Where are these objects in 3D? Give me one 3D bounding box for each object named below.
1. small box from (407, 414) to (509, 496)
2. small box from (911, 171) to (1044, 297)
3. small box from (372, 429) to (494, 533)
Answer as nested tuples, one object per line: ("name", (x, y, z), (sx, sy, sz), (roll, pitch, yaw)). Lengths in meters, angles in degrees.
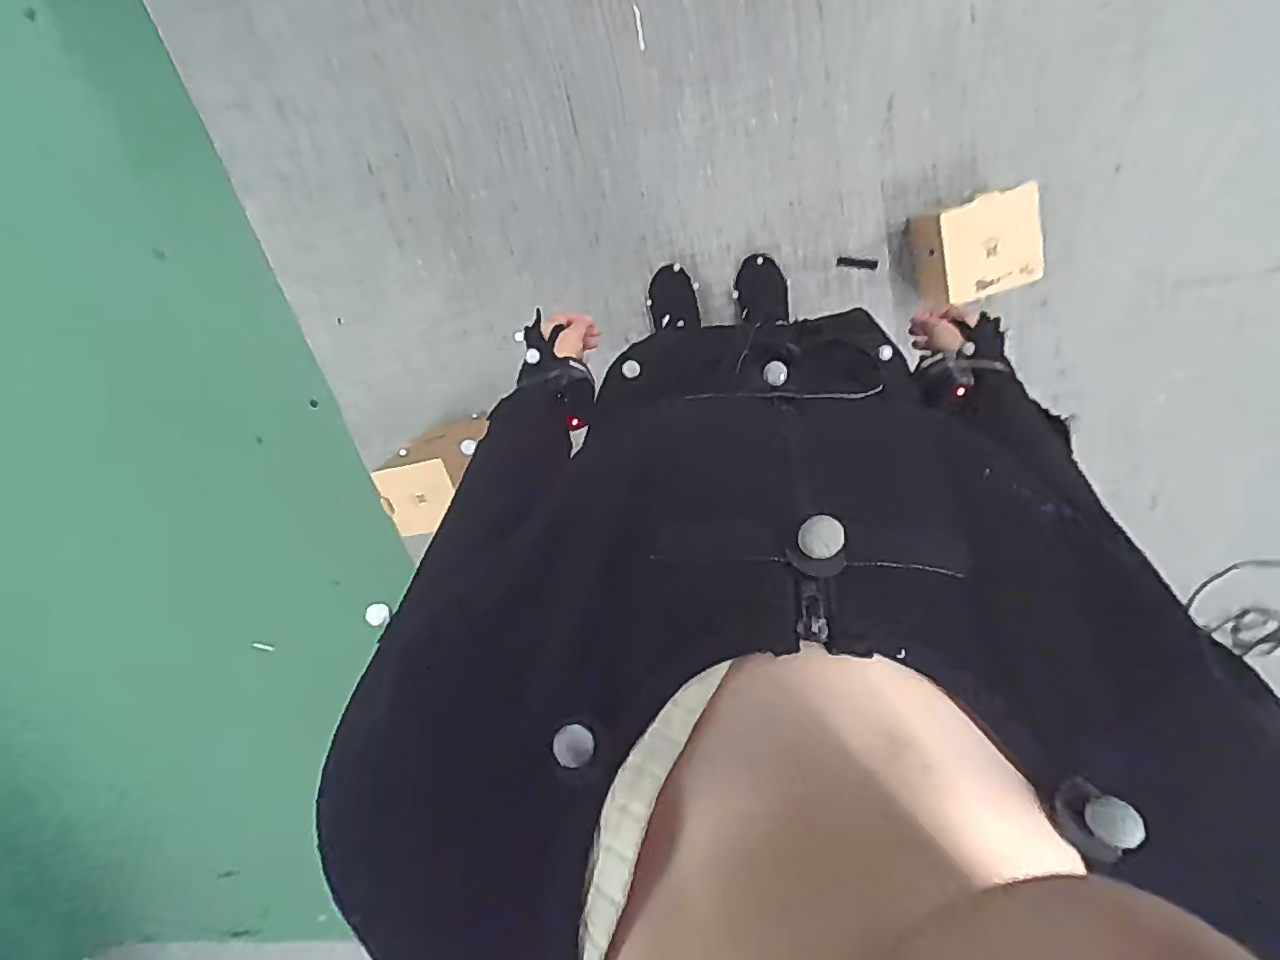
("small box", (-0.458, -0.062, 1.391), (0.168, 0.176, 0.179), (-9, 113, 11))
("small box", (0.656, -0.477, 1.067), (0.168, 0.176, 0.179), (-16, 110, 14))
("small box", (-0.463, -0.002, 1.239), (0.179, 0.176, 0.168), (-12, 113, 11))
